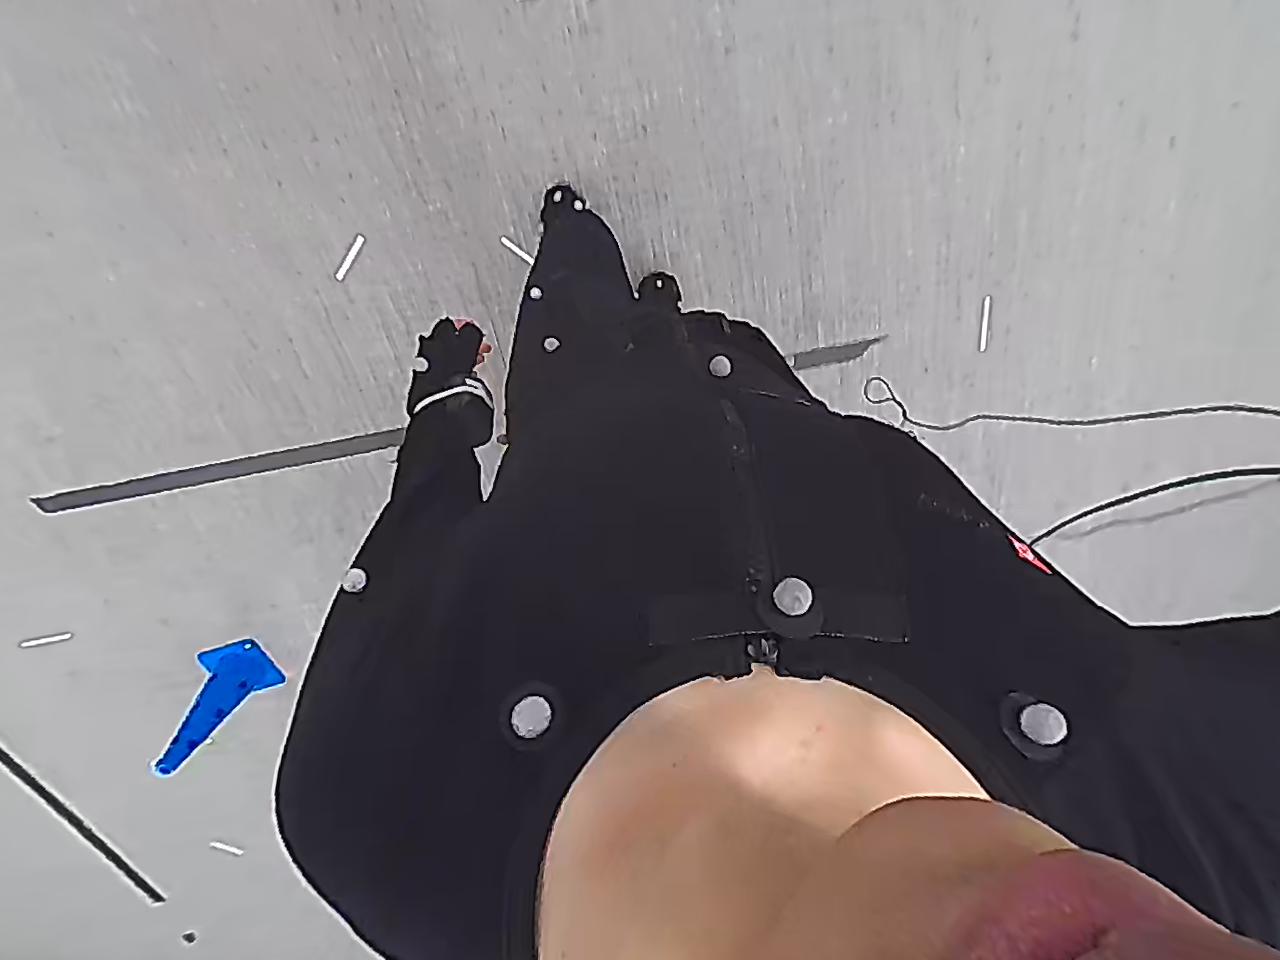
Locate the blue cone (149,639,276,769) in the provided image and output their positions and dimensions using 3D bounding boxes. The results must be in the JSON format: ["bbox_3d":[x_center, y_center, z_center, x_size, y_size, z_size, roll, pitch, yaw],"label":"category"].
[{"bbox_3d":[-1.272,0.668,1.576,0.193,0.380,0.192,-16,116,3],"label":"blue cone"}]
